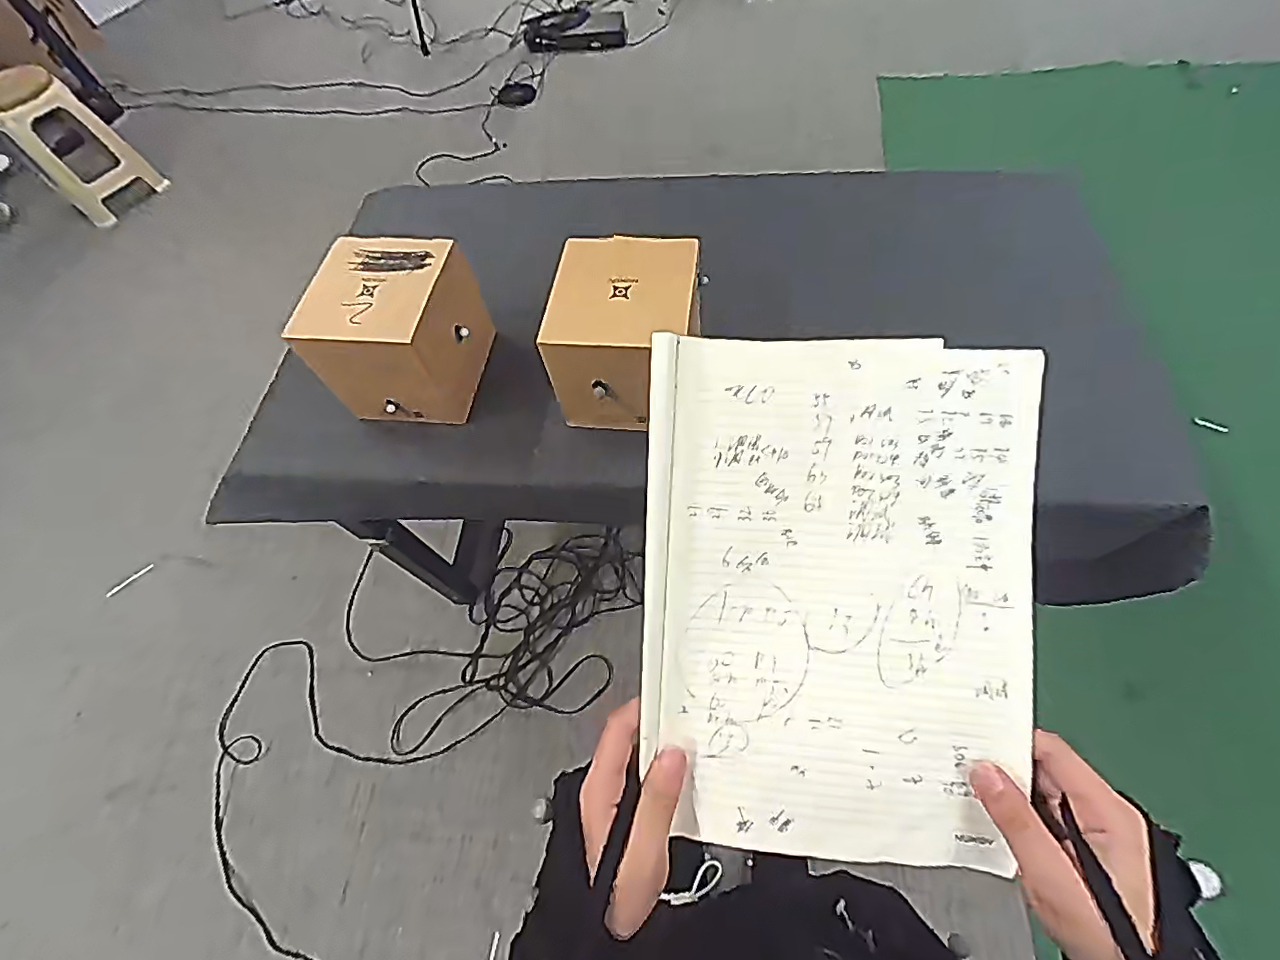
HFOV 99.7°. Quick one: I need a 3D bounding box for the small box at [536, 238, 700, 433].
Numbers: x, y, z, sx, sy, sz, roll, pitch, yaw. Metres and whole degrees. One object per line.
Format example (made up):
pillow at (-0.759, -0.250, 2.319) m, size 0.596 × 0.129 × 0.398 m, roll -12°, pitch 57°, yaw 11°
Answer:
small box at (-0.013, -0.175, 0.679) m, size 0.168 × 0.176 × 0.179 m, roll 4°, pitch 61°, yaw 9°
